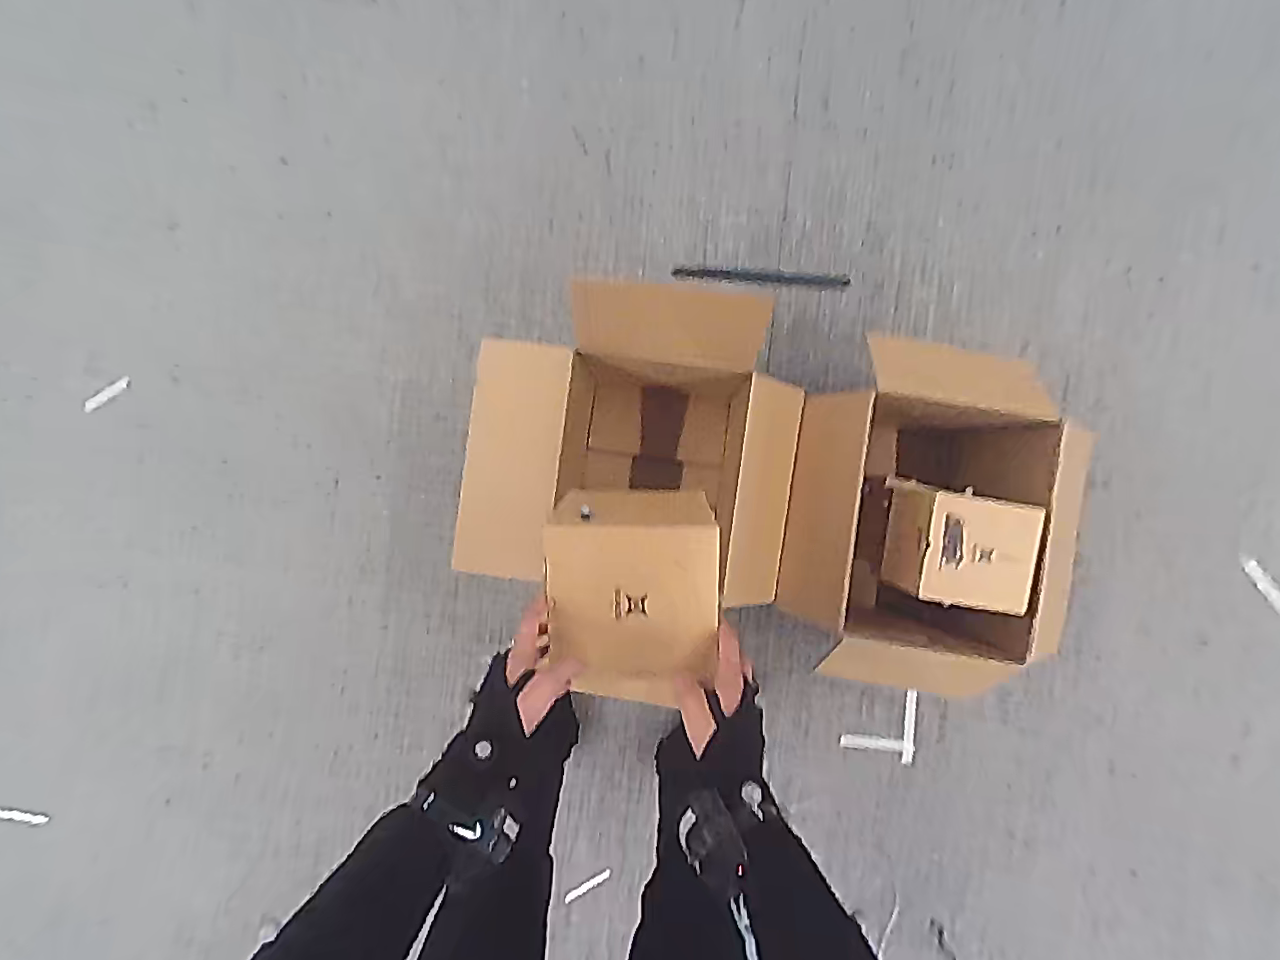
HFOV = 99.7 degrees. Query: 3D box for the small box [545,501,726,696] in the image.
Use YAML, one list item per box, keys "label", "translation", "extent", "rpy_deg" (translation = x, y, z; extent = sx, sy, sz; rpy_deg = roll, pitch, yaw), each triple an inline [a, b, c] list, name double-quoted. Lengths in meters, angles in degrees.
- label: "small box"
  translation: [-0.002, 0.121, 0.609]
  extent: [0.179, 0.176, 0.168]
  rpy_deg: [0, 100, 3]
